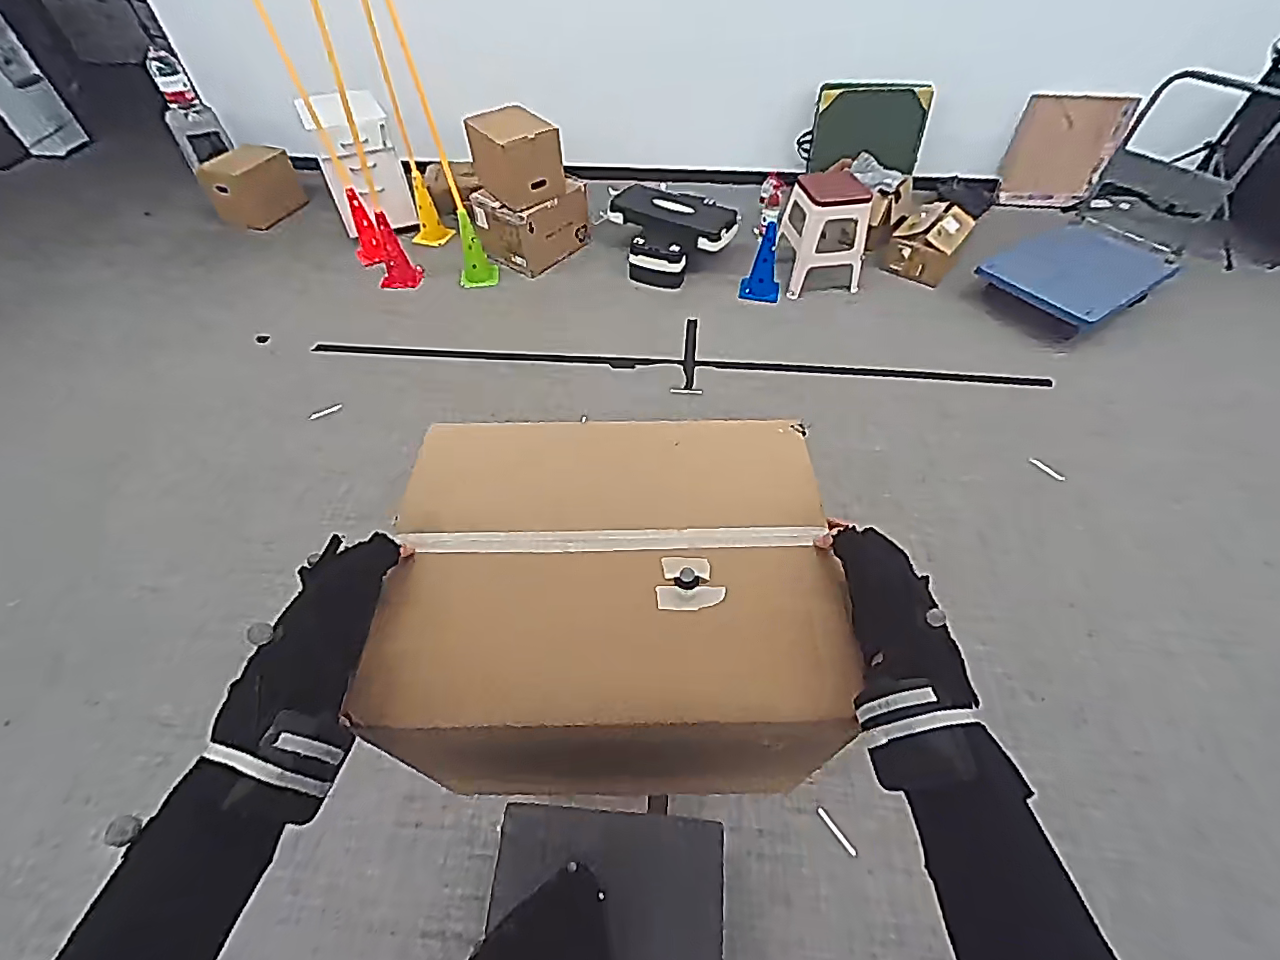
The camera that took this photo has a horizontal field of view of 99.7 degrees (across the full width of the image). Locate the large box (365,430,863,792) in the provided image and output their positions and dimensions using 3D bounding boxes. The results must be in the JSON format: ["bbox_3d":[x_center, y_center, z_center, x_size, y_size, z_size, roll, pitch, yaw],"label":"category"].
[{"bbox_3d":[-0.023,0.159,0.632,0.408,0.320,0.320,0,52,0],"label":"large box"}]
